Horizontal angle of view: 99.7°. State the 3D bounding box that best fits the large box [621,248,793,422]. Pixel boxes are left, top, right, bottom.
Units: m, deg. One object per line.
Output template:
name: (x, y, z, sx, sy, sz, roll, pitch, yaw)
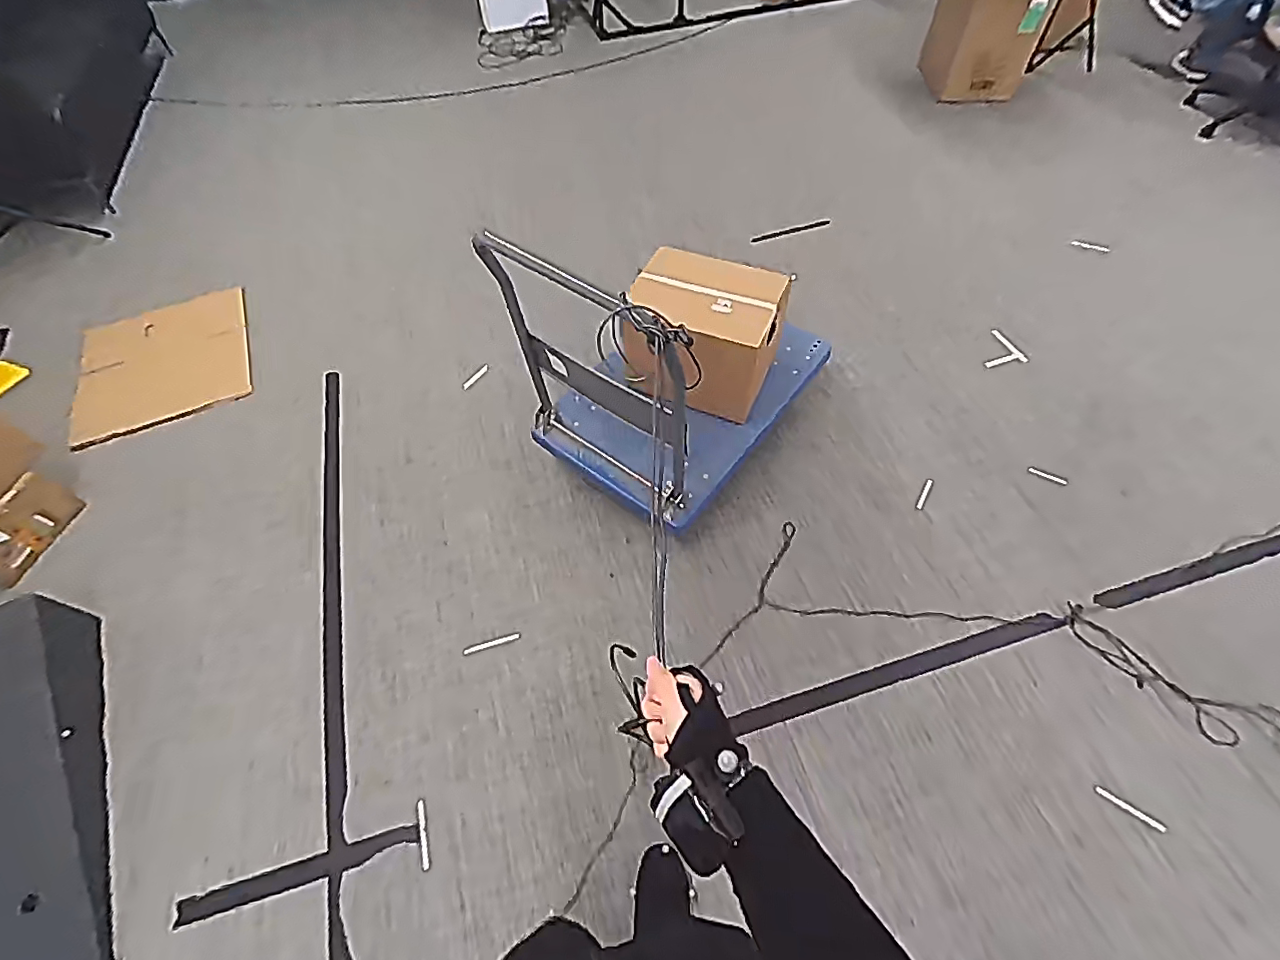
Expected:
large box: (0.190, -0.428, 1.607, 0.408, 0.320, 0.320, 20, 61, 14)
